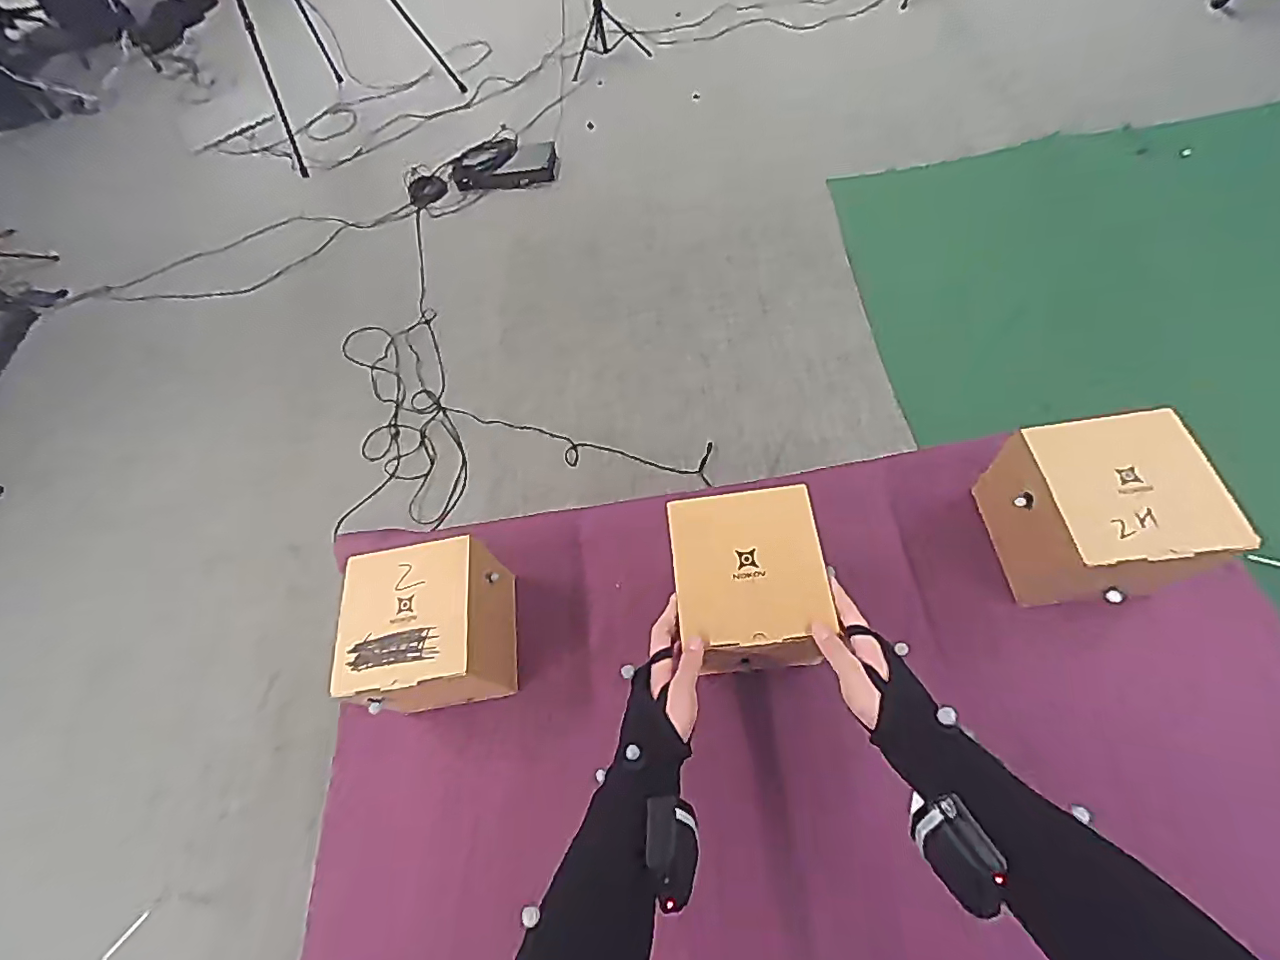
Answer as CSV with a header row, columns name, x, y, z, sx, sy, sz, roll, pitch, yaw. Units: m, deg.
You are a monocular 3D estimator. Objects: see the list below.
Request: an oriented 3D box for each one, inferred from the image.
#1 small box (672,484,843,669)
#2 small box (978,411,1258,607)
name,x,y,z,sx,sy,sz,roll,pitch,yaw
small box,0.131,0.126,0.665,0.168,0.176,0.179,-7,64,5
small box,0.551,0.043,0.661,0.168,0.176,0.179,-8,62,8
